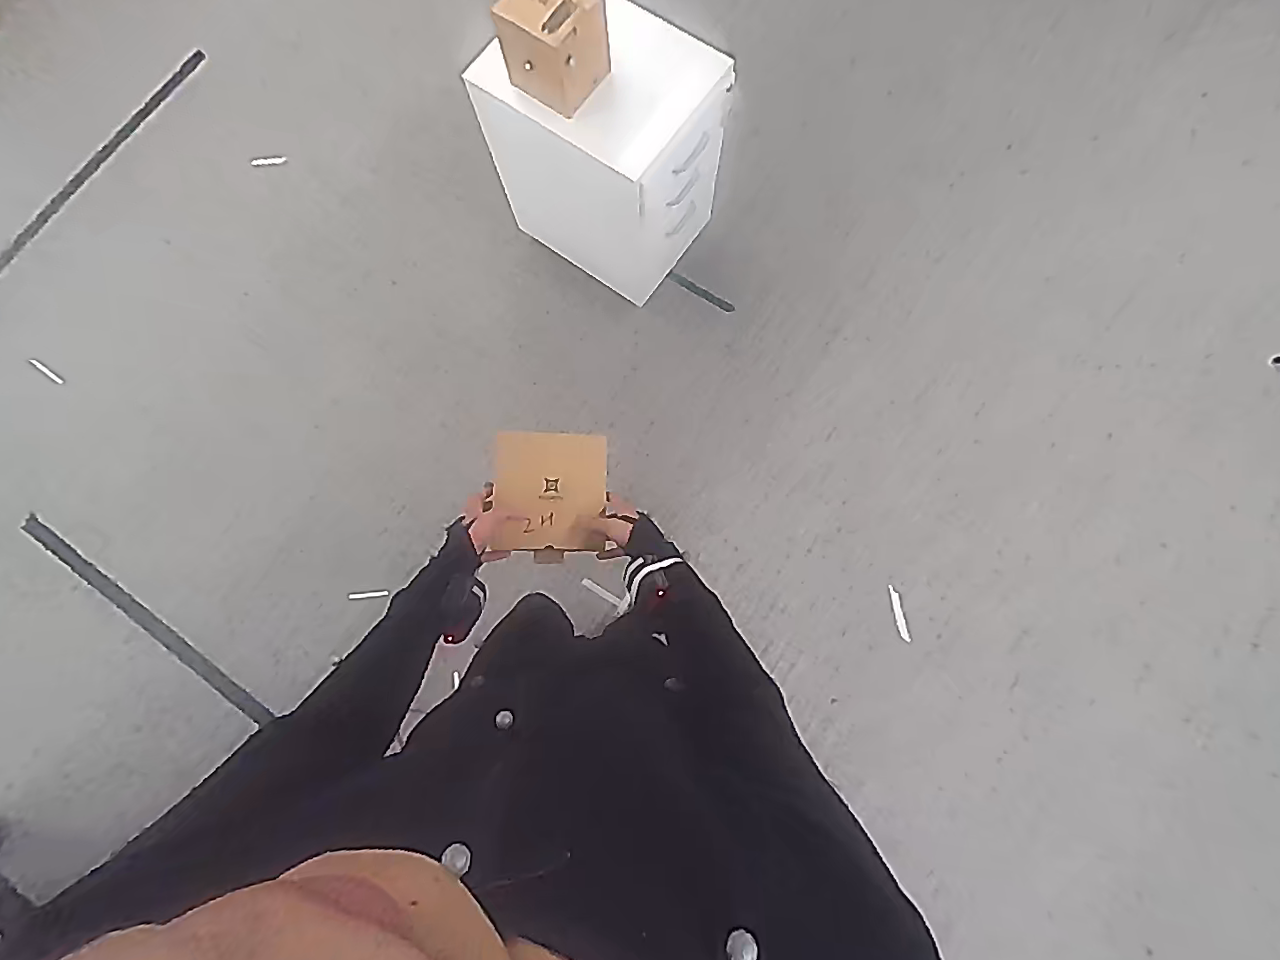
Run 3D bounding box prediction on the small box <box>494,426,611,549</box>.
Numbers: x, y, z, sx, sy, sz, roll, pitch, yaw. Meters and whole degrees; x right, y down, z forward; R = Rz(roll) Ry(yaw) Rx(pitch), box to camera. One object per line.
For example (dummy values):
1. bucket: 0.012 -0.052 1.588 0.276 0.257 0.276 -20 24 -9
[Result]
1. small box: -0.144 0.021 0.868 0.168 0.176 0.179 3 83 -12
